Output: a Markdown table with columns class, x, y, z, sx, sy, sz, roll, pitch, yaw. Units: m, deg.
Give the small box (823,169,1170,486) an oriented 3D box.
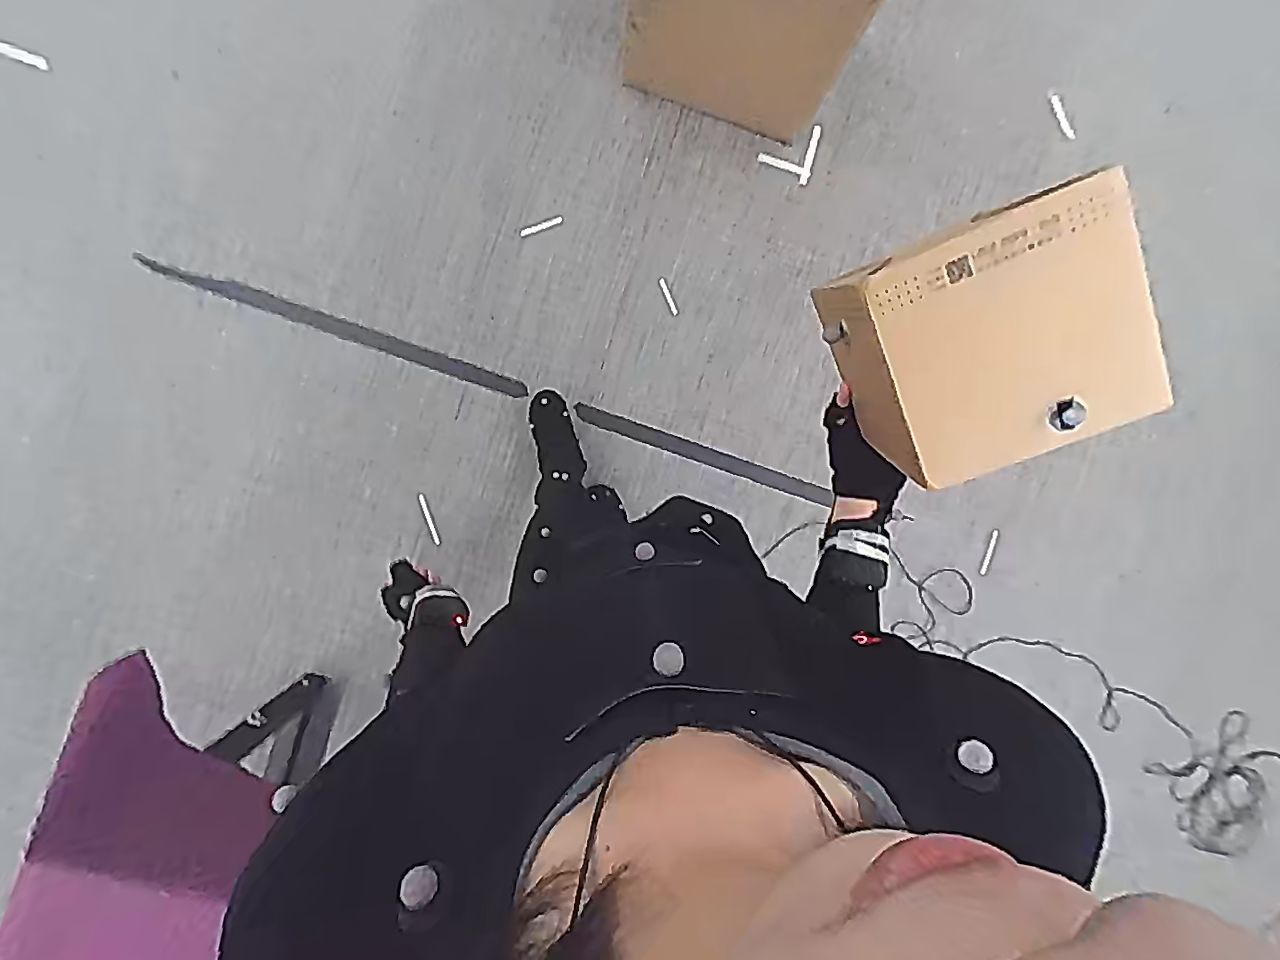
| class | x | y | z | sx | sy | sz | roll | pitch | yaw |
| --- | --- | --- | --- | --- | --- | --- | --- | --- | --- |
| small box | 0.265 | -0.122 | 0.442 | 0.168 | 0.179 | 0.176 | -22 | 104 | 13 |
